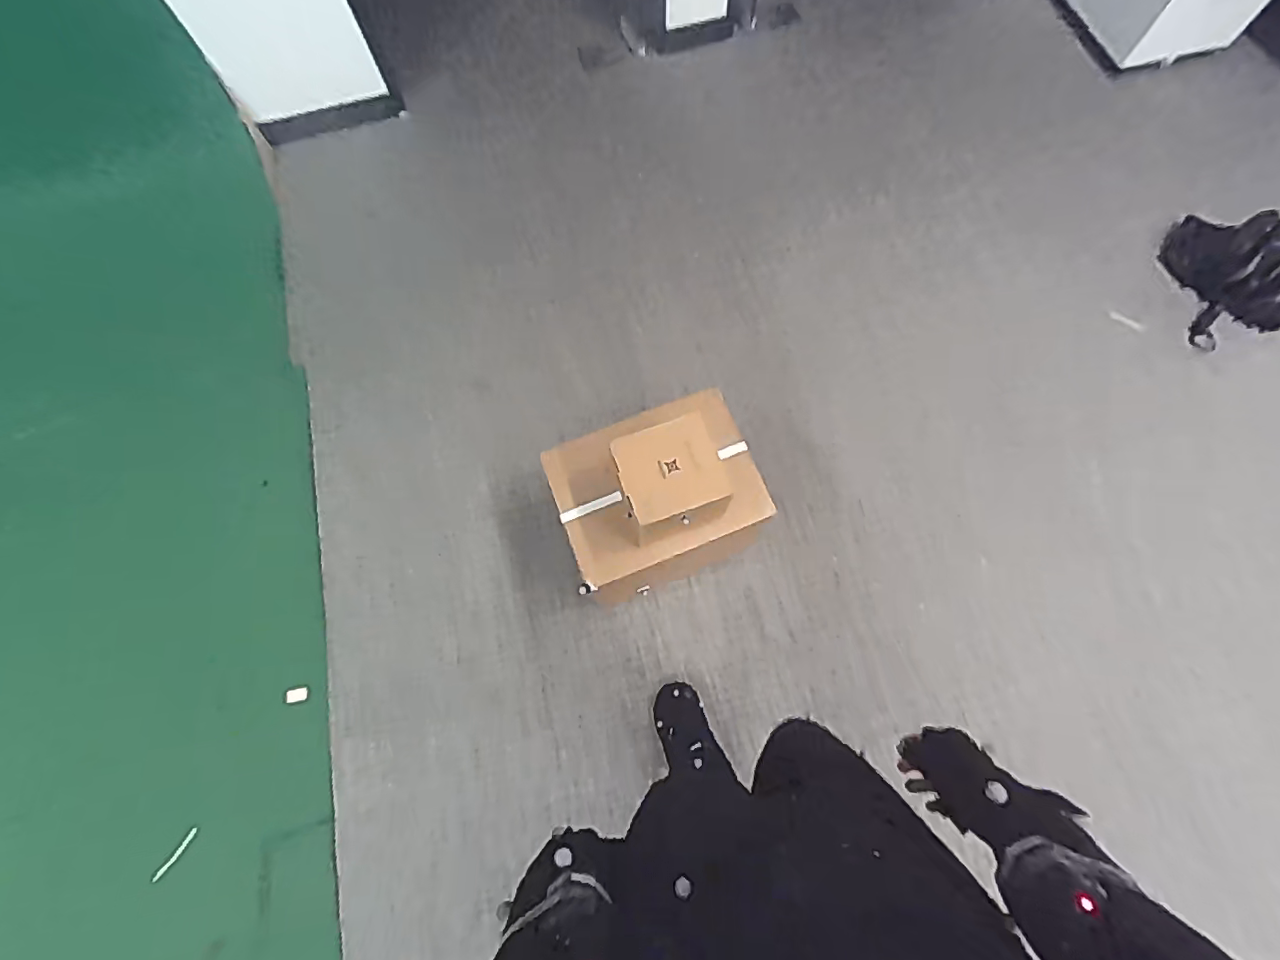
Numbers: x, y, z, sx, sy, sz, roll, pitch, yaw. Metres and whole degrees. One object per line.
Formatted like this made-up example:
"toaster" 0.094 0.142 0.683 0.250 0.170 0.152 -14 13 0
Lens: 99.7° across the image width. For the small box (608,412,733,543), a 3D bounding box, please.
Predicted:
"small box" 0.053 0.005 1.000 0.179 0.176 0.168 -19 73 -6
